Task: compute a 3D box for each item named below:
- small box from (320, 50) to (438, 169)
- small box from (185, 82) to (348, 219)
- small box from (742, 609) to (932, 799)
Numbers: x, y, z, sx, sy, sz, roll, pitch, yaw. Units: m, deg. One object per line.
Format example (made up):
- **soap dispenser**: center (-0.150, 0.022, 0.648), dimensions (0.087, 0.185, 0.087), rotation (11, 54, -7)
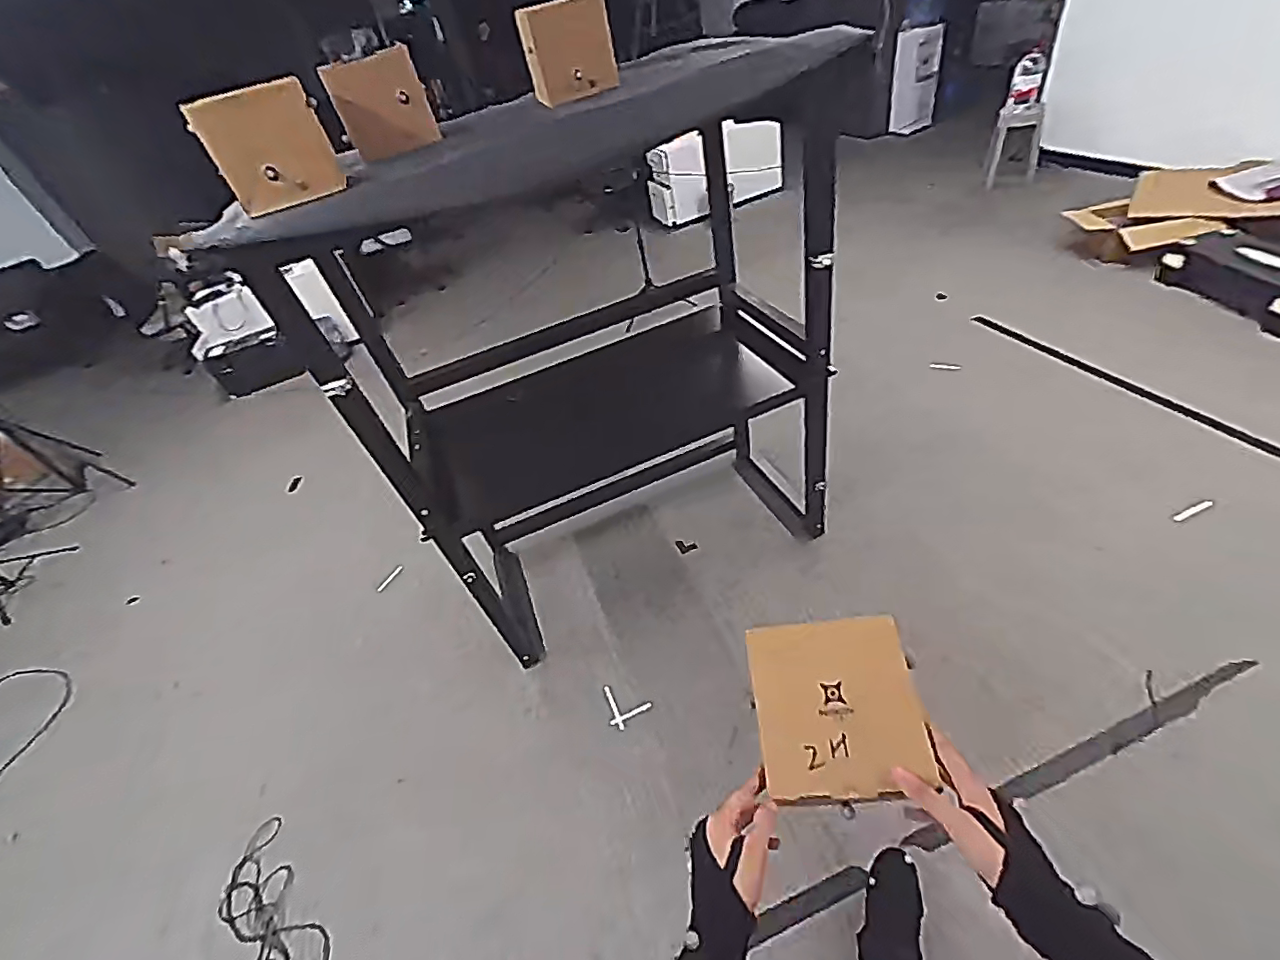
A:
- **small box**: center (-0.545, -0.787, 1.147), dimensions (0.179, 0.176, 0.168), rotation (-24, 43, -11)
- **small box**: center (-0.639, -0.578, 0.951), dimensions (0.168, 0.176, 0.179), rotation (-24, 42, -10)
- **small box**: center (0.218, 0.272, 0.644), dimensions (0.168, 0.176, 0.179), rotation (-9, 57, 10)
